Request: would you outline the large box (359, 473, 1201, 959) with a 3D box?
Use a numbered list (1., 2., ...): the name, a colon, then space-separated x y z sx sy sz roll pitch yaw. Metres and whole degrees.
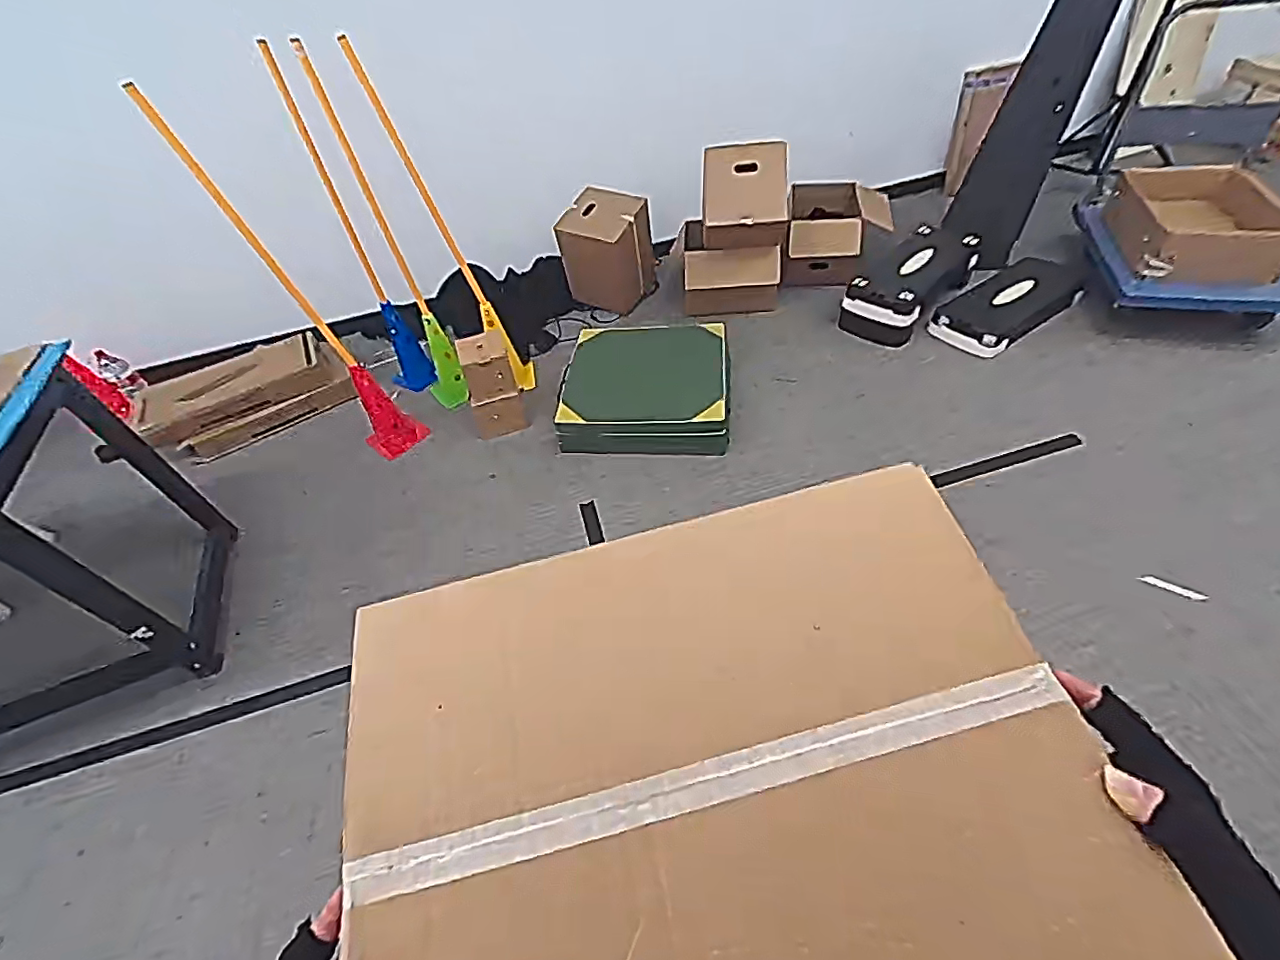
1. large box: 0.055 0.245 0.435 0.408 0.320 0.320 -15 57 -2
